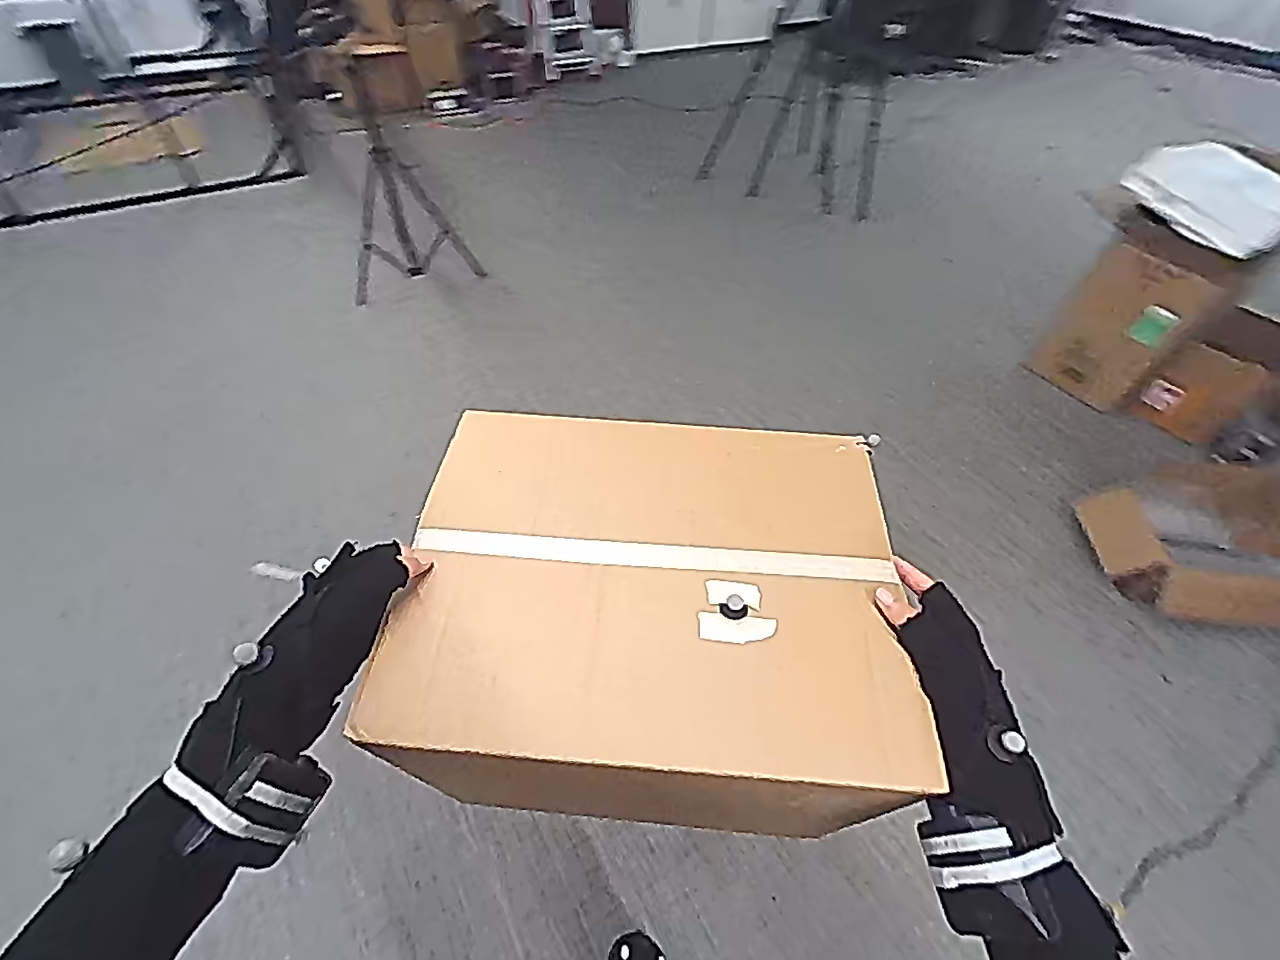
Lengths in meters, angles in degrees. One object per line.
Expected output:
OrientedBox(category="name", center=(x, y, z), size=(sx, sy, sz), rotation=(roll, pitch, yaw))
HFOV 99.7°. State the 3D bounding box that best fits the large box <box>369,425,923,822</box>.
OrientedBox(category="large box", center=(0.005, 0.164, 0.588), size=(0.408, 0.320, 0.320), rotation=(4, 52, 1))
